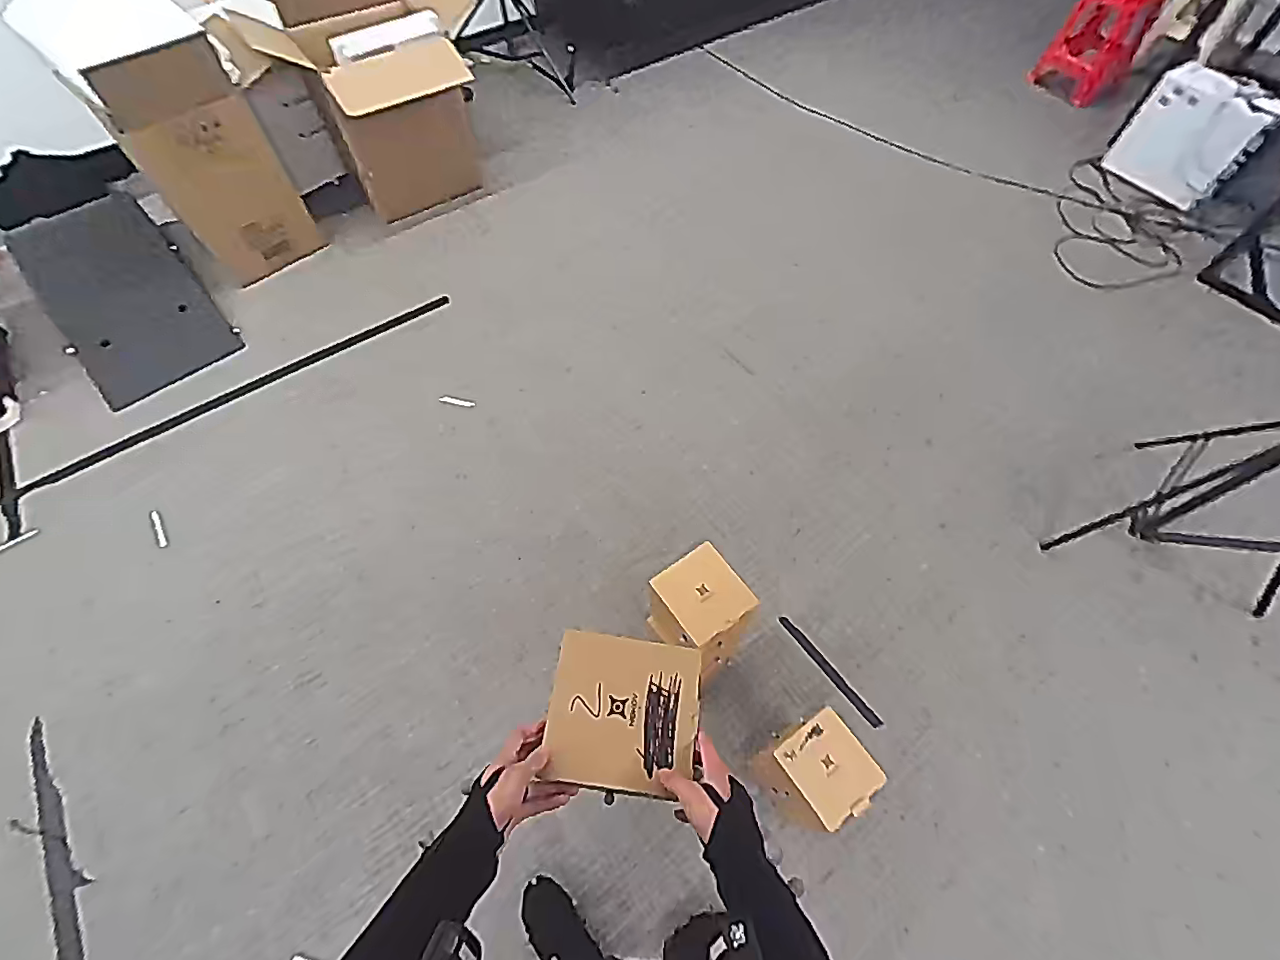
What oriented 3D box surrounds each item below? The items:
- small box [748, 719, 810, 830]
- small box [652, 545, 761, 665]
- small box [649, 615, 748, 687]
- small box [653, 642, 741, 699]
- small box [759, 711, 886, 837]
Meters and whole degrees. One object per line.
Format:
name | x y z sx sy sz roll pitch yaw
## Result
small box | 0.387 0.718 1.320 0.168 0.176 0.179 -31 65 -16
small box | 0.137 0.282 1.201 0.168 0.176 0.179 -31 64 -17
small box | 0.136 0.379 1.332 0.179 0.176 0.168 -36 65 -18
small box | 0.146 0.464 1.471 0.179 0.176 0.168 -38 66 -19
small box | 0.388 0.635 1.179 0.168 0.176 0.179 -30 65 -16
